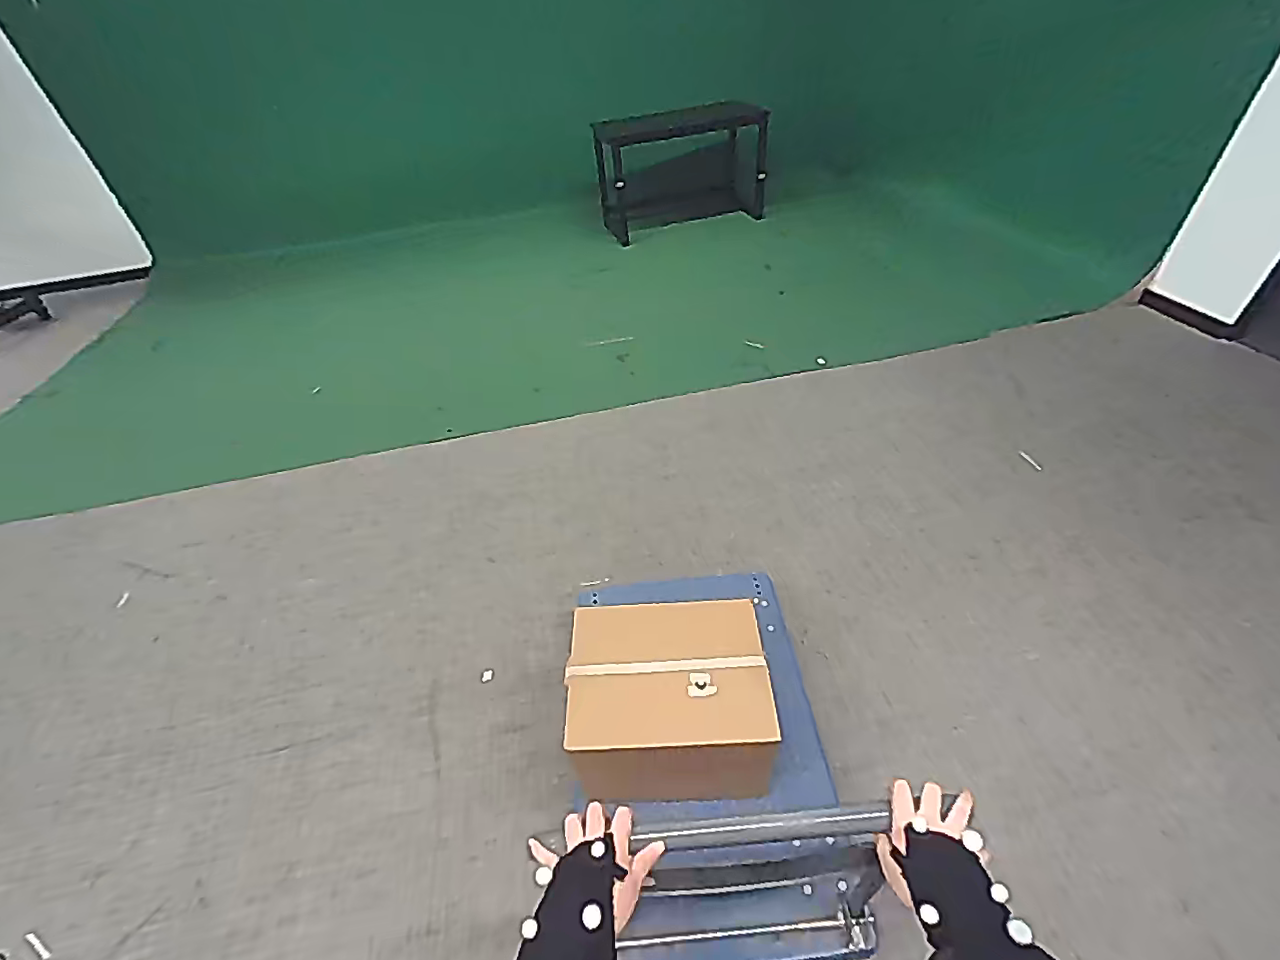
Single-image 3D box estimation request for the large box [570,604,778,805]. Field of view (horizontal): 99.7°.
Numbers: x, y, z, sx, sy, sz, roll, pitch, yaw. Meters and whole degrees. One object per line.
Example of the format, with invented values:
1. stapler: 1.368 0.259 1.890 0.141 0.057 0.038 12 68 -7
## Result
1. large box: 0.064 0.508 1.226 0.408 0.320 0.320 -3 43 1
